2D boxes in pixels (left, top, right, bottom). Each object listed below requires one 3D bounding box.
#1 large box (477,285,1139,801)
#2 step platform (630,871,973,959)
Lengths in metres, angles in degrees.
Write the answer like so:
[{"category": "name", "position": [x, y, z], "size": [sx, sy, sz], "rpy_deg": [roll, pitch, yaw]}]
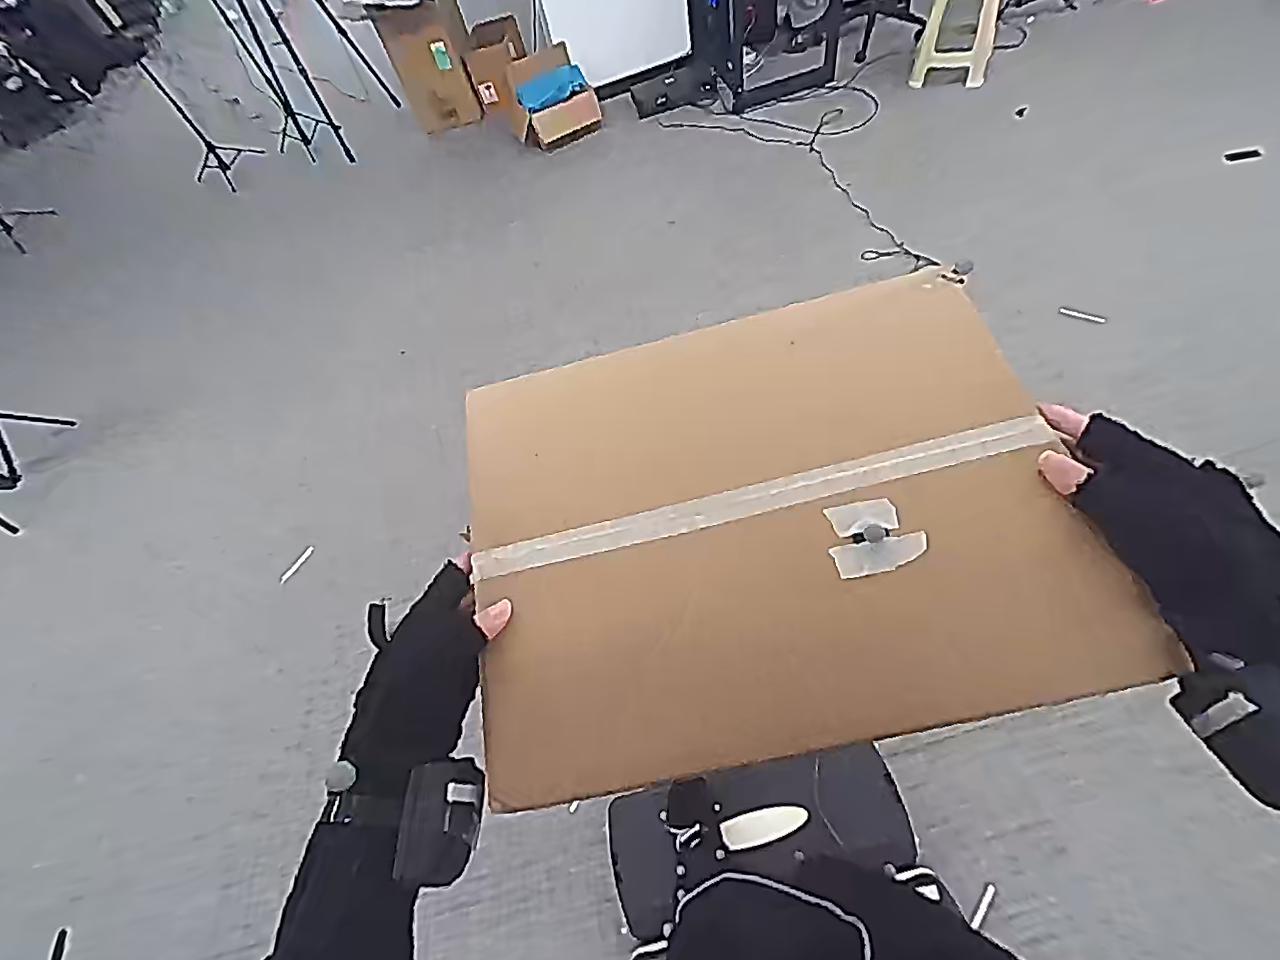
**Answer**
[{"category": "large box", "position": [0.101, 0.082, 0.529], "size": [0.408, 0.320, 0.320], "rpy_deg": [-14, 65, 4]}, {"category": "step platform", "position": [0.309, 1.023, 1.052], "size": [0.684, 0.204, 0.286], "rpy_deg": [-19, 56, 3]}]
